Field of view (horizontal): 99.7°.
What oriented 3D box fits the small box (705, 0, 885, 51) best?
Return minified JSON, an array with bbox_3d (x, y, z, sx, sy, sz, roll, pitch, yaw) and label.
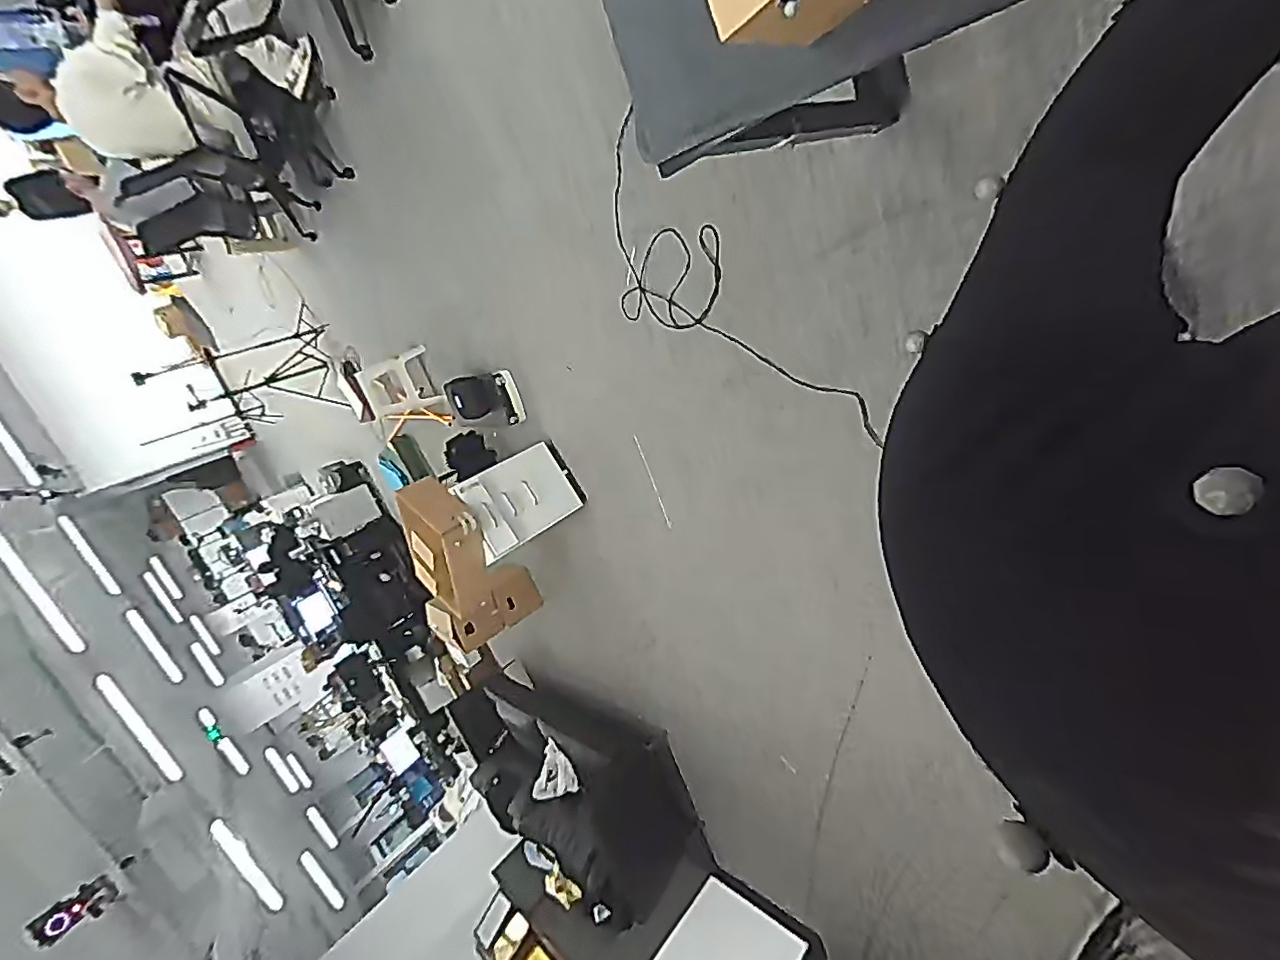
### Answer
[{"bbox_3d":[0.158,-0.540,0.499,0.168,0.176,0.179,-2,114,50],"label":"small box"}]
